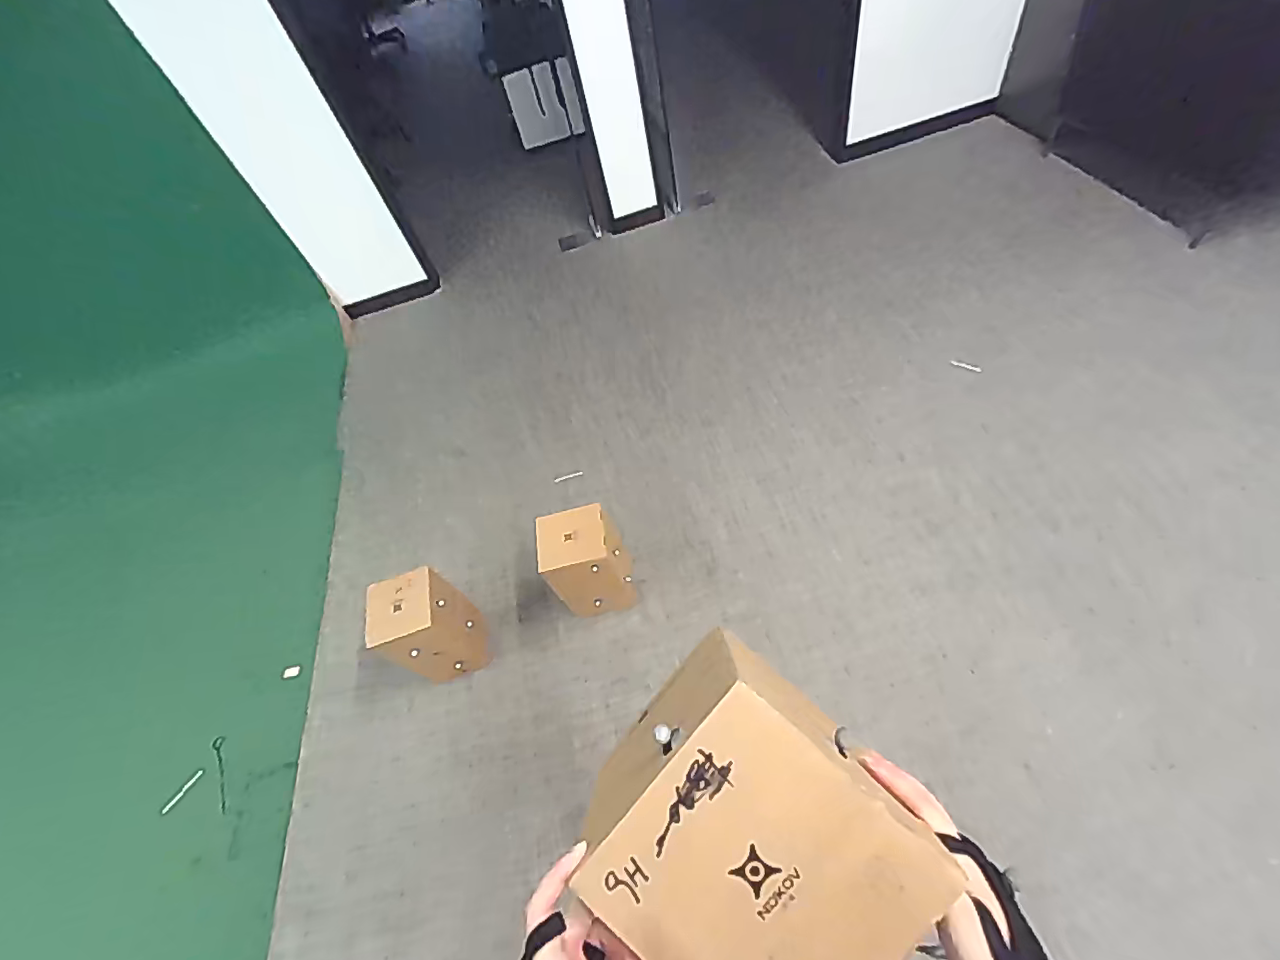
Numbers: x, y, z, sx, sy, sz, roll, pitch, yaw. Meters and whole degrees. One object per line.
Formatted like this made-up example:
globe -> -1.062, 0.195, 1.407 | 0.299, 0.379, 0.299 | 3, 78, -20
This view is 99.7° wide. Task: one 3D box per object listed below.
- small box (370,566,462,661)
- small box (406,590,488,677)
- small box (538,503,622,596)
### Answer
small box -> -0.580, 0.356, 1.414 | 0.168, 0.176, 0.179 | -18, 53, -1
small box -> -0.548, 0.447, 1.548 | 0.168, 0.176, 0.179 | -18, 53, 0
small box -> -0.159, 0.190, 1.431 | 0.179, 0.176, 0.168 | -14, 53, 4
